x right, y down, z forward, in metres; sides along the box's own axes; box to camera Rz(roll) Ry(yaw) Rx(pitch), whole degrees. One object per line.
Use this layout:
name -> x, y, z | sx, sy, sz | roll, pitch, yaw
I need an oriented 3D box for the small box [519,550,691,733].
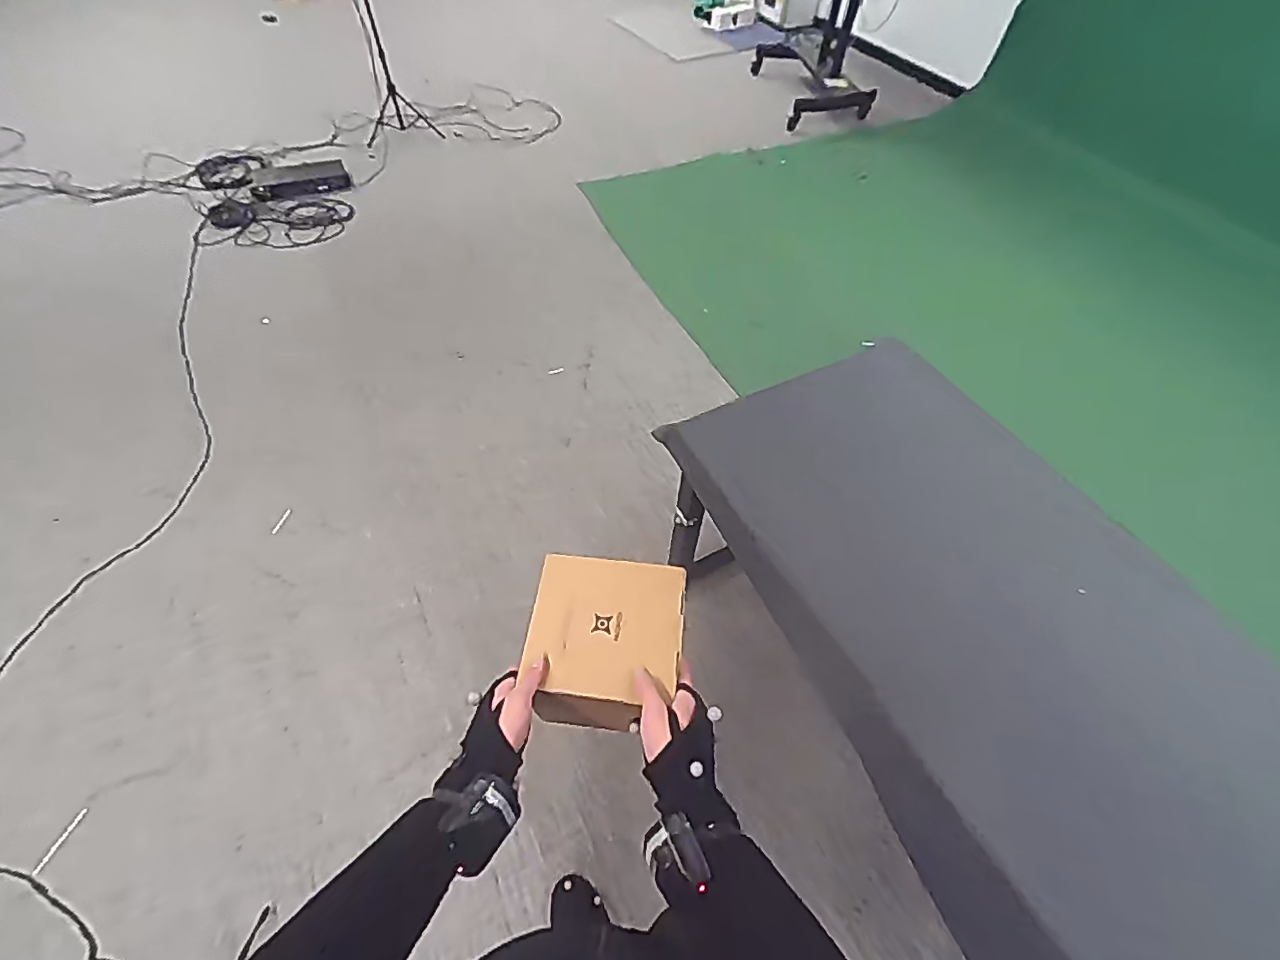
small box -> -0.034, 0.204, 0.667 | 0.179, 0.176, 0.168 | 4, 53, 2
